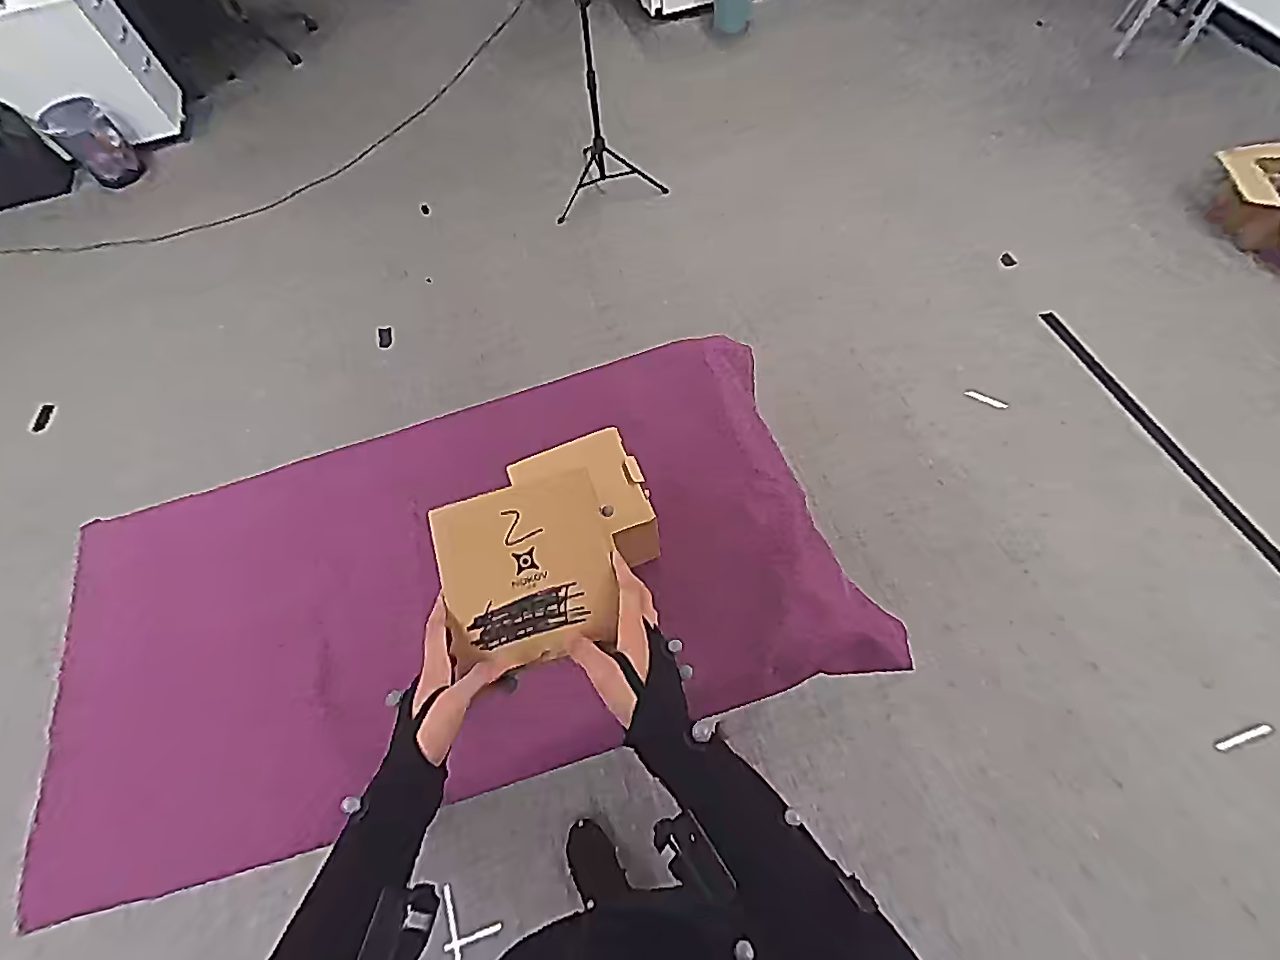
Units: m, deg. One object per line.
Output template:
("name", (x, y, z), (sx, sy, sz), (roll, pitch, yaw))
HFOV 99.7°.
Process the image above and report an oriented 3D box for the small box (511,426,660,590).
("small box", (-0.078, 0.049, 0.836), (0.179, 0.176, 0.168), (-21, 63, -7))
